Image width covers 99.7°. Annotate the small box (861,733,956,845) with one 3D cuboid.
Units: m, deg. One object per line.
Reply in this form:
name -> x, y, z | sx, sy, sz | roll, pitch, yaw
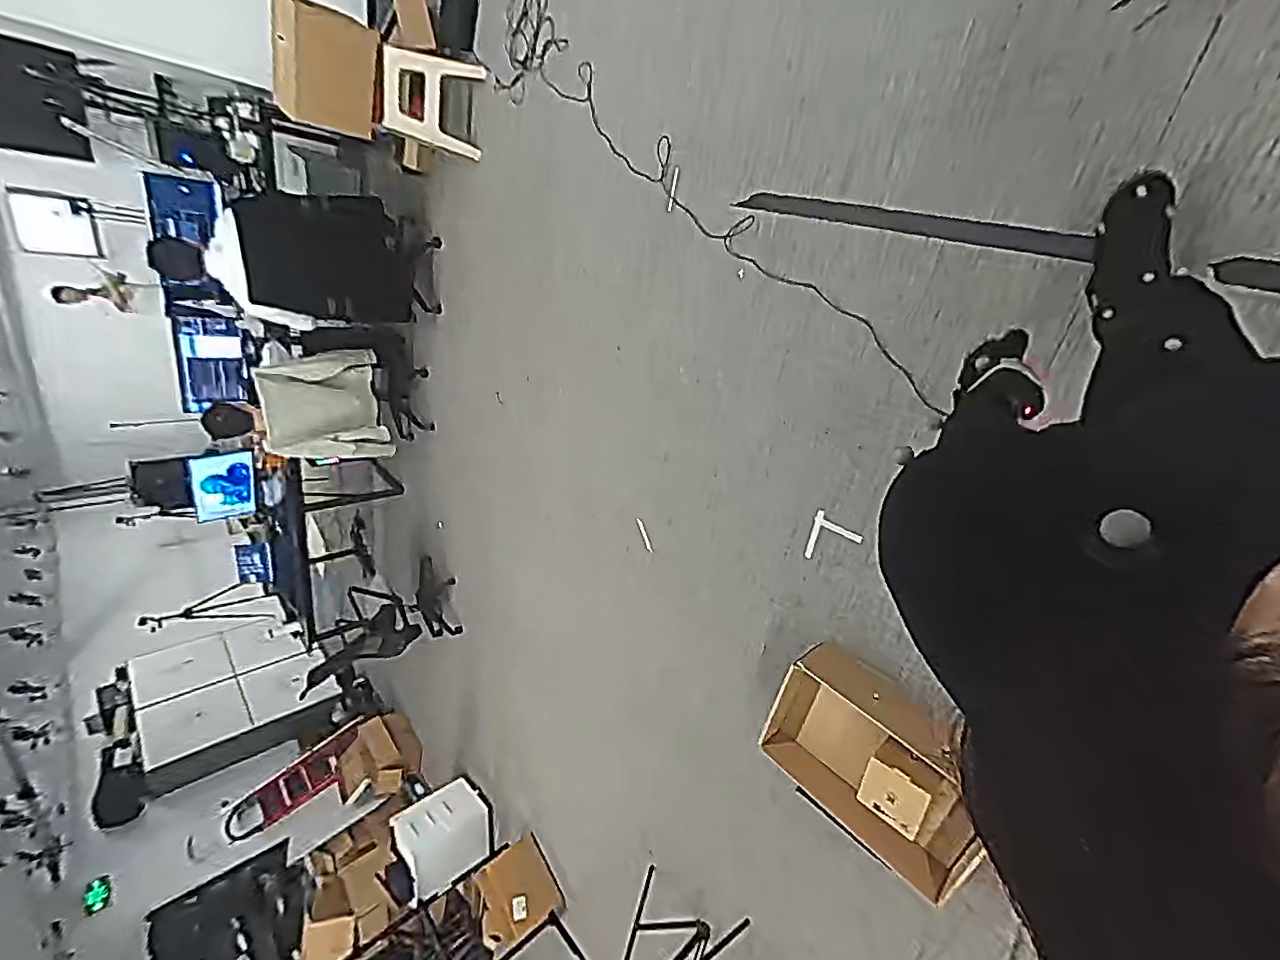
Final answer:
small box -> 0.751, 0.849, 1.504 | 0.168, 0.176, 0.179 | 27, 119, 42
